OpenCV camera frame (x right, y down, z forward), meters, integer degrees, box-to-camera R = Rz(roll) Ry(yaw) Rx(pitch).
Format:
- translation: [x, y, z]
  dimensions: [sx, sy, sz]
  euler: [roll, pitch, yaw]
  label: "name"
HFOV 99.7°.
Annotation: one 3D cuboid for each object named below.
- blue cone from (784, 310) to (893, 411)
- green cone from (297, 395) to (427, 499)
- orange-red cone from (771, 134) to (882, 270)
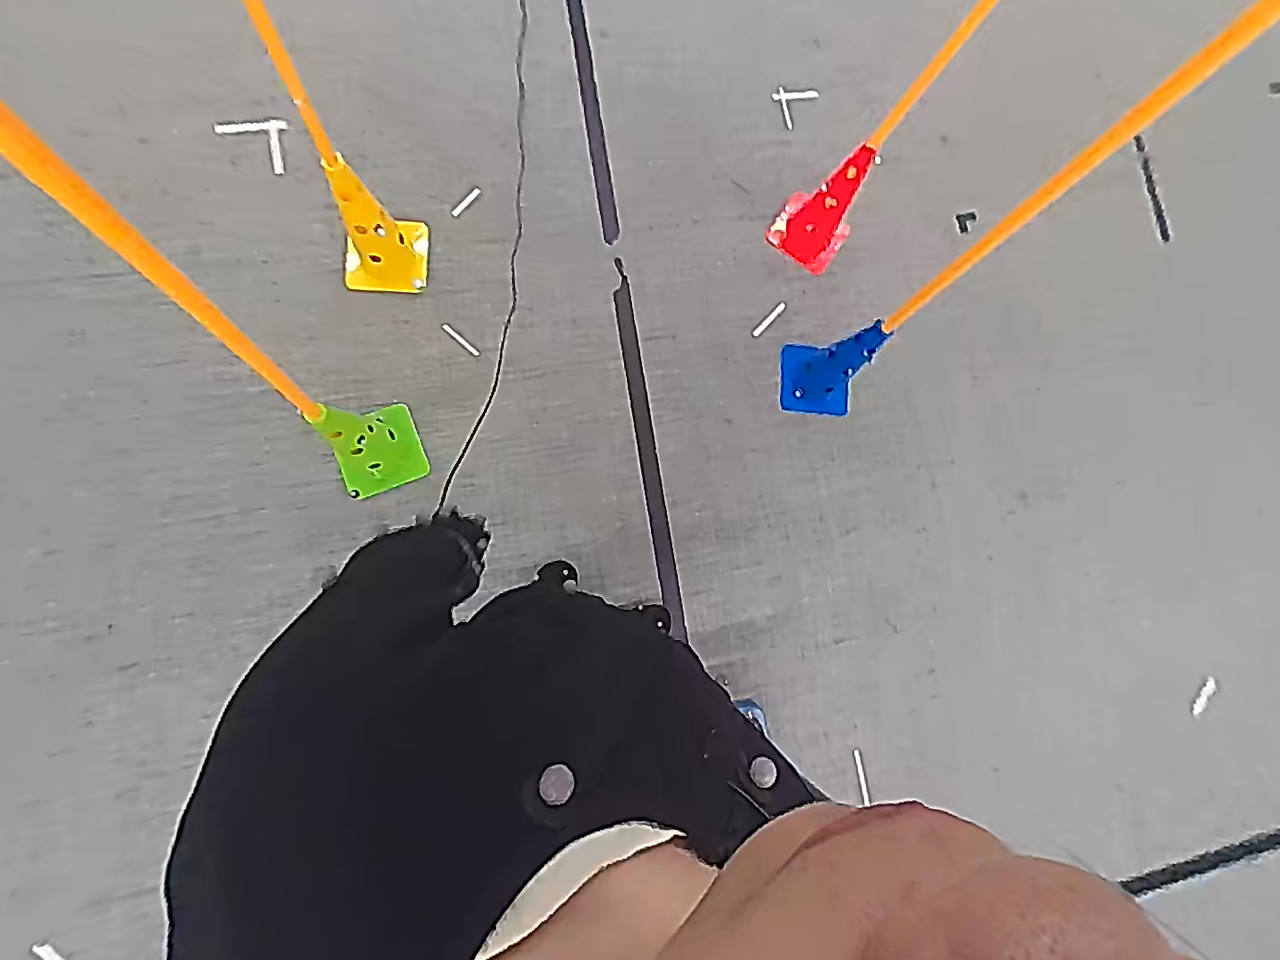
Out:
- translation: [0.519, -0.318, 1.370]
  dimensions: [0.193, 0.380, 0.192]
  euler: [6, 79, -7]
  label: "blue cone"
- translation: [-0.624, -0.103, 1.165]
  dimensions: [0.200, 0.368, 0.202]
  euler: [-22, 83, -11]
  label: "green cone"
- translation: [0.525, -0.758, 1.425]
  dimensions: [0.198, 0.360, 0.199]
  euler: [36, 80, 0]
  label: "orange-red cone"
